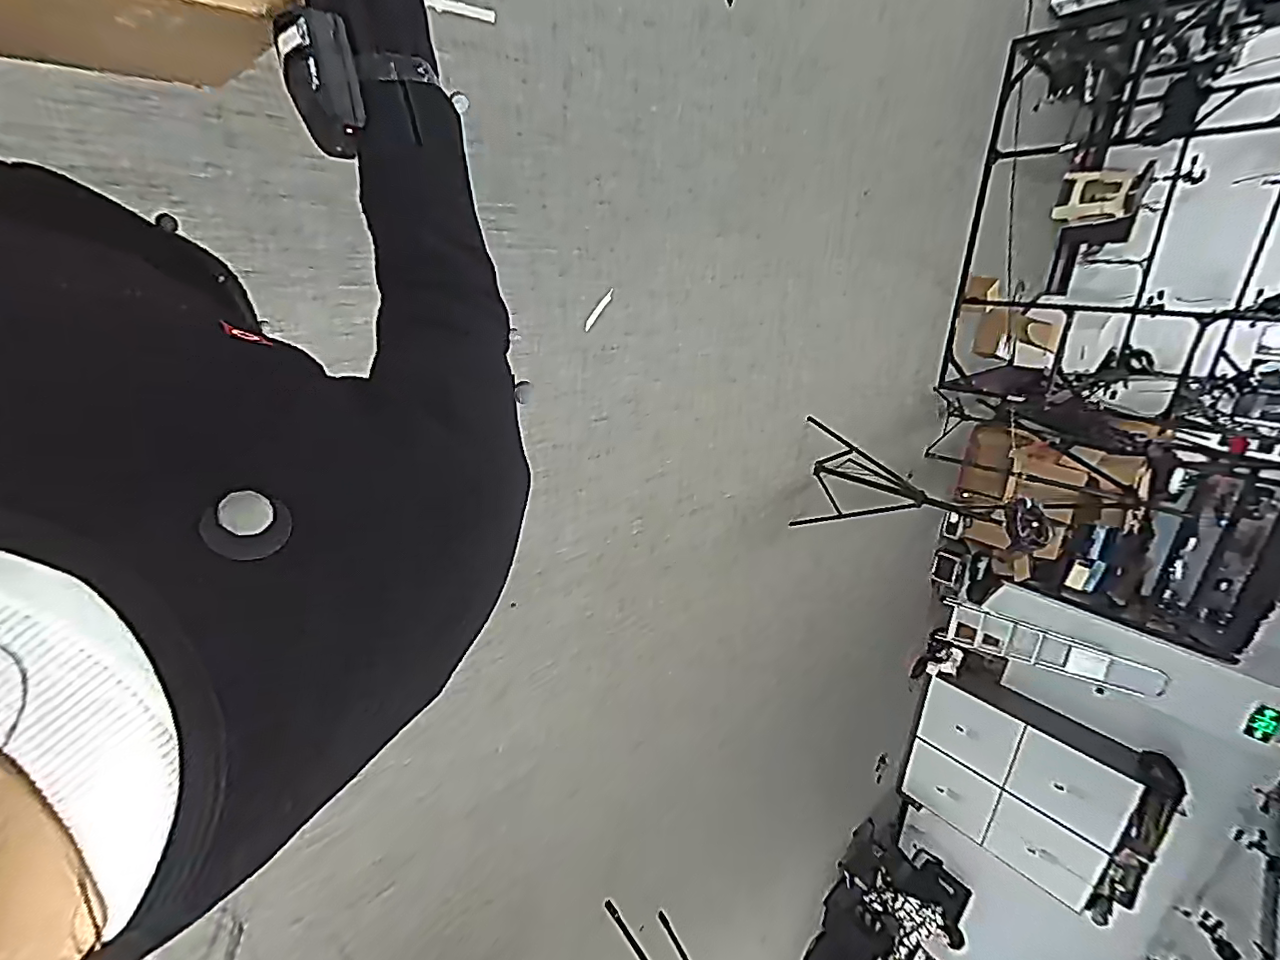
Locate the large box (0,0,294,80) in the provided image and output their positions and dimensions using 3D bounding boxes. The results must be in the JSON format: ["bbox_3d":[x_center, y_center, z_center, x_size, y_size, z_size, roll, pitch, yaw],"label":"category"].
[{"bbox_3d":[-0.457,-0.416,0.245,0.408,0.320,0.320,-21,125,-38],"label":"large box"}]
